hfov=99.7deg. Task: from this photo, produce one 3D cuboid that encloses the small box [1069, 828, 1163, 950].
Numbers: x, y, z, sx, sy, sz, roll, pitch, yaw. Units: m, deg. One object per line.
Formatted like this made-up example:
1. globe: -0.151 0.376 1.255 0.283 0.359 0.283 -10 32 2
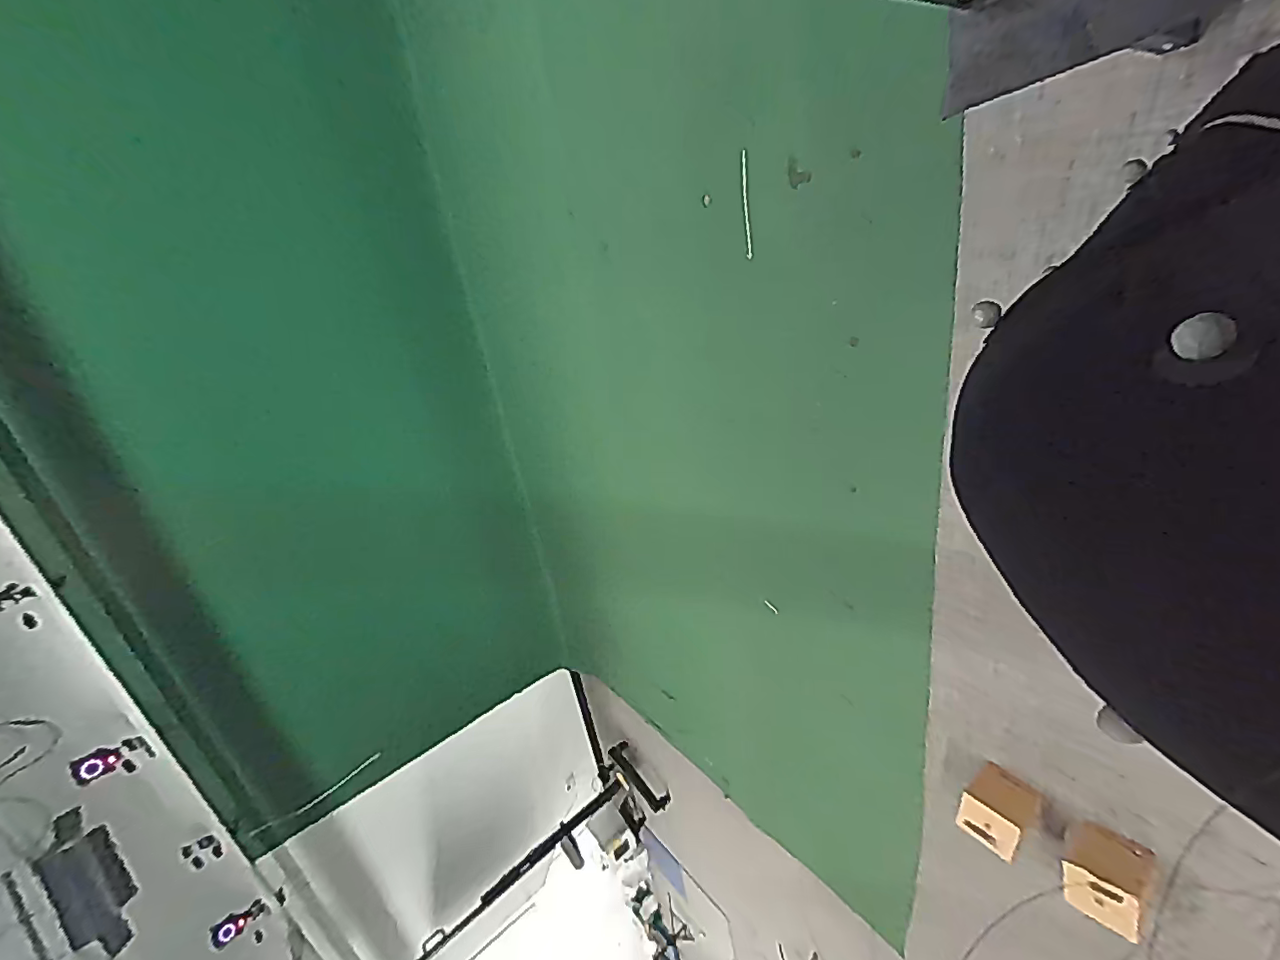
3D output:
1. small box: 1.335 1.138 1.520 0.168 0.176 0.179 9 119 55
